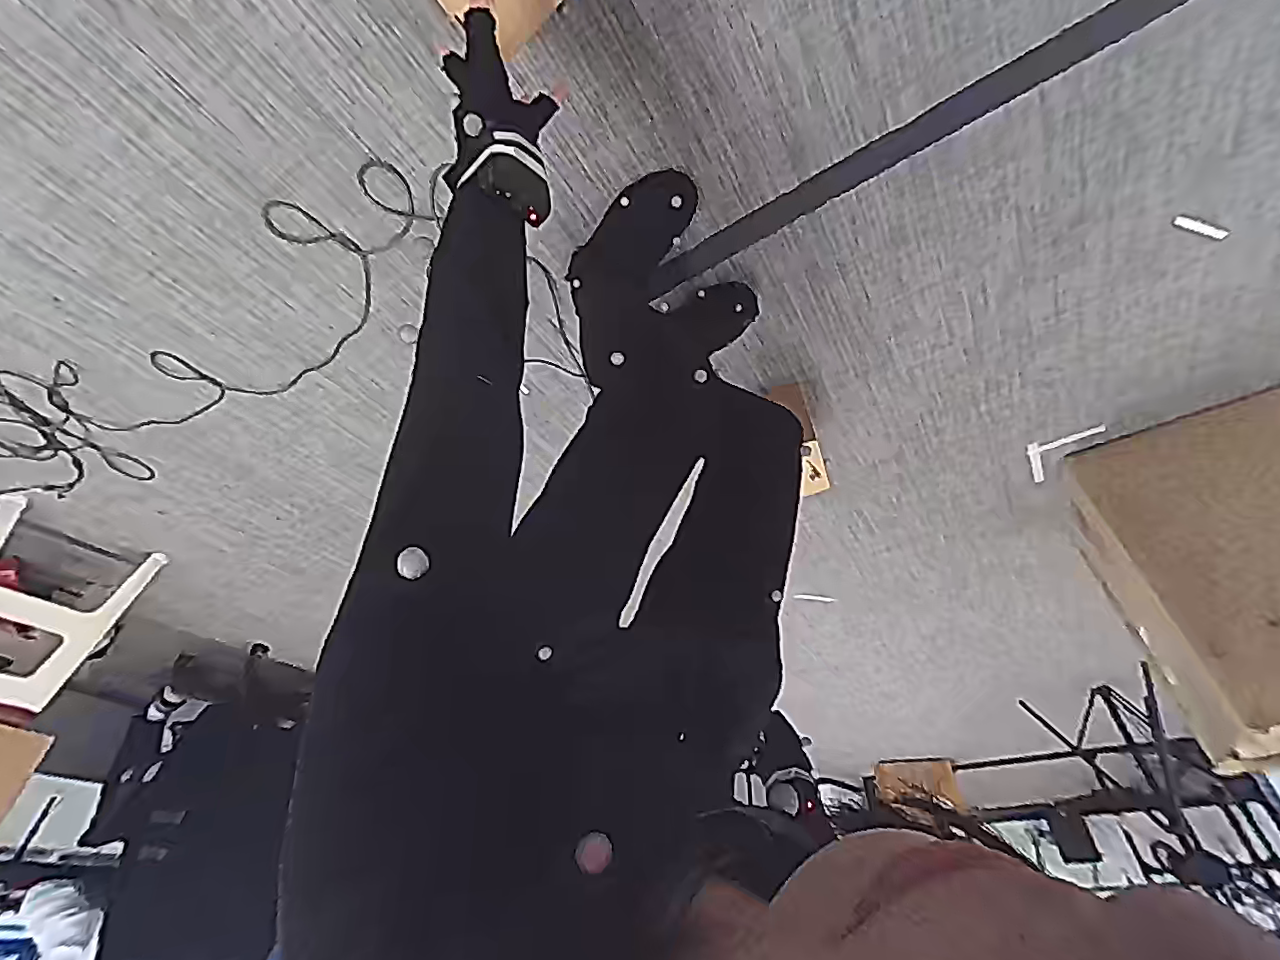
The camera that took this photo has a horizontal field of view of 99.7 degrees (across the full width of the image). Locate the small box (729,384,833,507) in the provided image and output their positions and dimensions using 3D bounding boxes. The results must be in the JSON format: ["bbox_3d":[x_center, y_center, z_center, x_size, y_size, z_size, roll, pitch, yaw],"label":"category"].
[{"bbox_3d":[0.294,-0.073,1.145,0.179,0.176,0.168,-16,138,18],"label":"small box"}]

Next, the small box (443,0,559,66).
[{"bbox_3d":[-0.134,-0.576,0.541,0.179,0.176,0.168,-29,133,28],"label":"small box"}]
